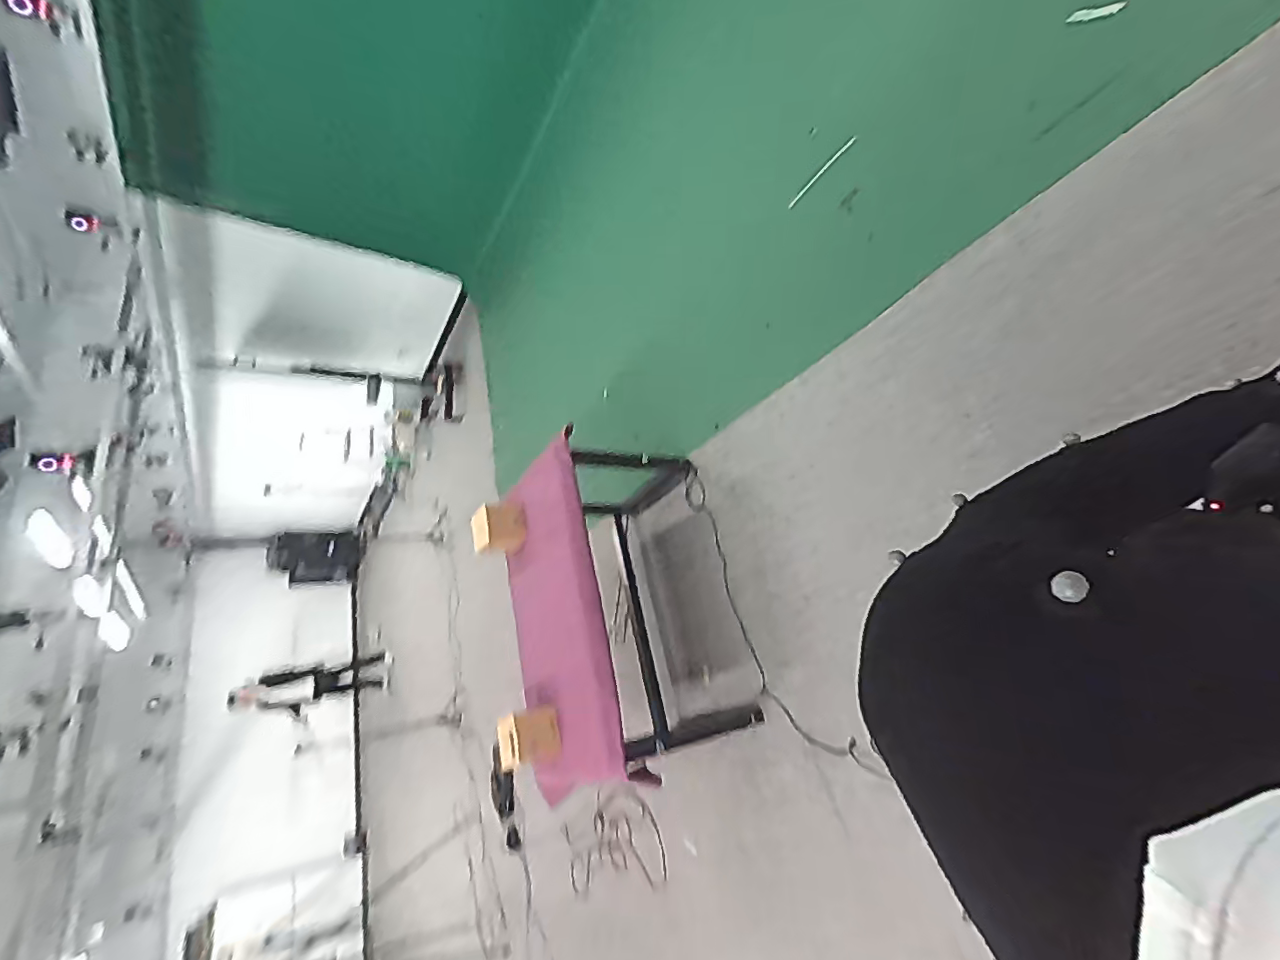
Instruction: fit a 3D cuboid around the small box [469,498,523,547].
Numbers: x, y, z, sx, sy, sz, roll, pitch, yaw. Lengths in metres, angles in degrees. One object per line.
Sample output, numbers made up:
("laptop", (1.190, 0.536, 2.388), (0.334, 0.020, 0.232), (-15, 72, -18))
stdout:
("small box", (-0.622, 0.185, 2.337), (0.179, 0.176, 0.168), (-35, 63, 47))
